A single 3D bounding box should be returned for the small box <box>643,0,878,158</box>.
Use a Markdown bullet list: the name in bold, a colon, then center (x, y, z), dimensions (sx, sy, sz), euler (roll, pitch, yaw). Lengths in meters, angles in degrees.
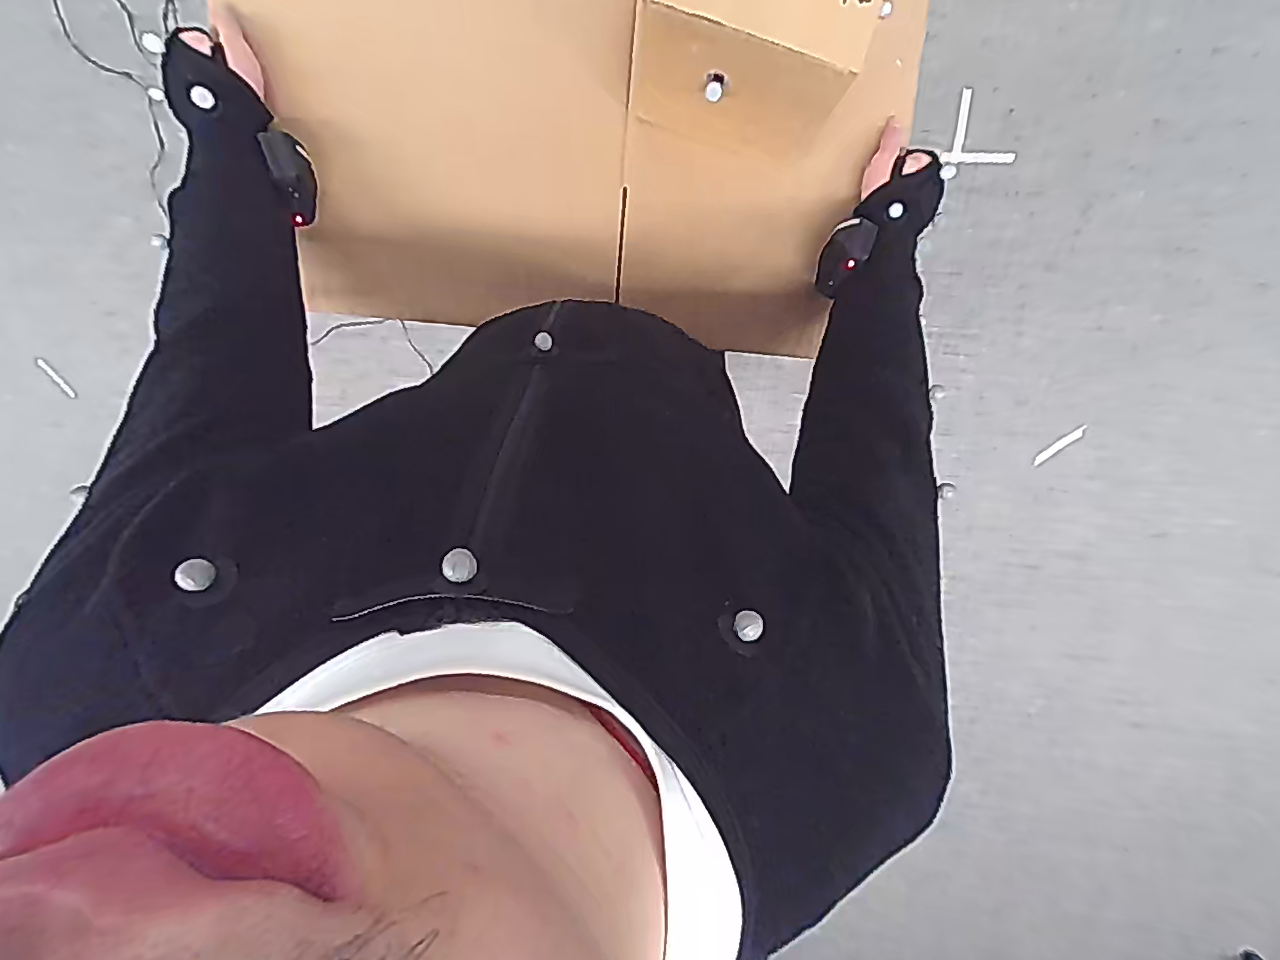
- **small box**: center (0.105, -0.424, 0.483), dimensions (0.179, 0.176, 0.168), euler (16, 98, -4)
